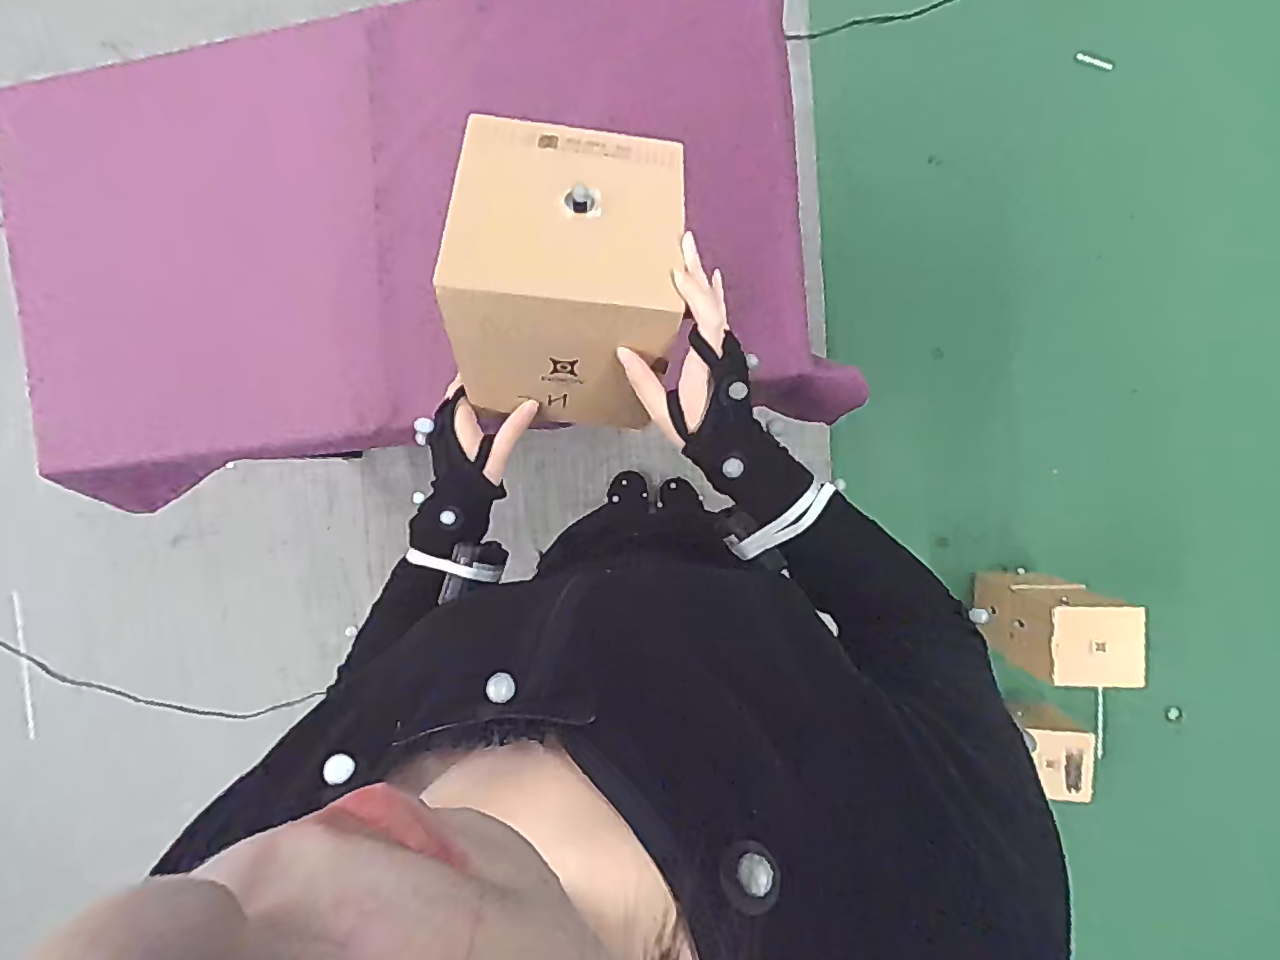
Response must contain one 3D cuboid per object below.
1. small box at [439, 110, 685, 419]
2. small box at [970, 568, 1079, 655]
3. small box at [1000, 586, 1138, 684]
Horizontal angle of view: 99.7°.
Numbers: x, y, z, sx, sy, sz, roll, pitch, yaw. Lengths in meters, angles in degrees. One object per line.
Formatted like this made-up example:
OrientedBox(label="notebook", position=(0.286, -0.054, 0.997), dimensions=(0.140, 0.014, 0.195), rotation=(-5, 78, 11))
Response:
OrientedBox(label="small box", position=(-0.061, -0.172, 0.462), dimensions=(0.168, 0.179, 0.176), rotation=(5, 68, -7))
OrientedBox(label="small box", position=(0.946, 0.323, 1.343), dimensions=(0.168, 0.176, 0.179), rotation=(-1, 92, 5))
OrientedBox(label="small box", position=(0.928, 0.331, 1.181), dimensions=(0.179, 0.176, 0.168), rotation=(-1, 92, 6))
